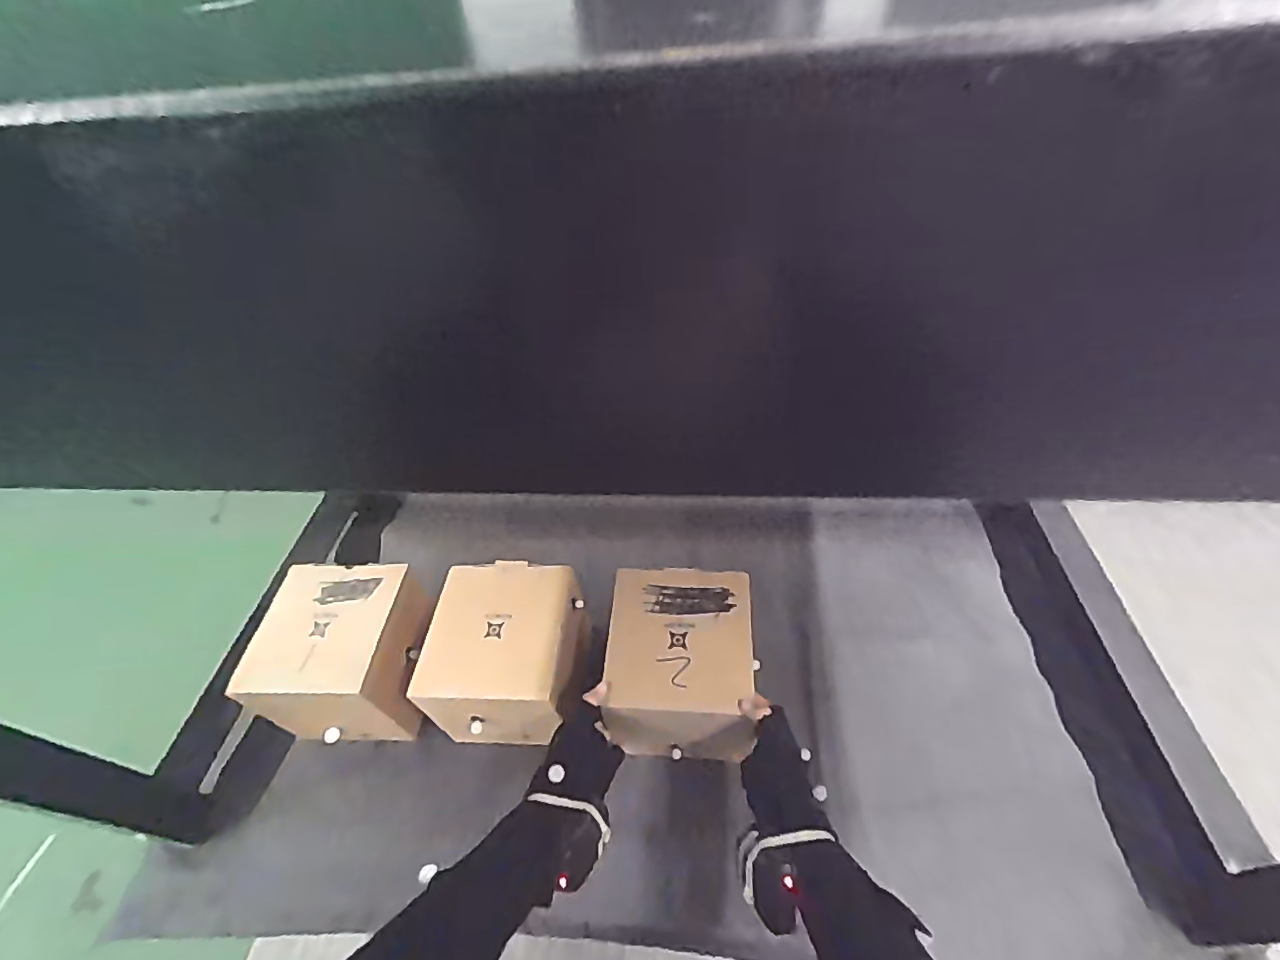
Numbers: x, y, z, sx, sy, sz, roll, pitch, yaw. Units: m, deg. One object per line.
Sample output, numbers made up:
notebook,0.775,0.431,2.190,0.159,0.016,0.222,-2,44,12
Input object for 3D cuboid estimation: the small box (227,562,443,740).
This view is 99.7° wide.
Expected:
small box,-0.386,0.229,0.729,0.168,0.176,0.179,-2,48,6
